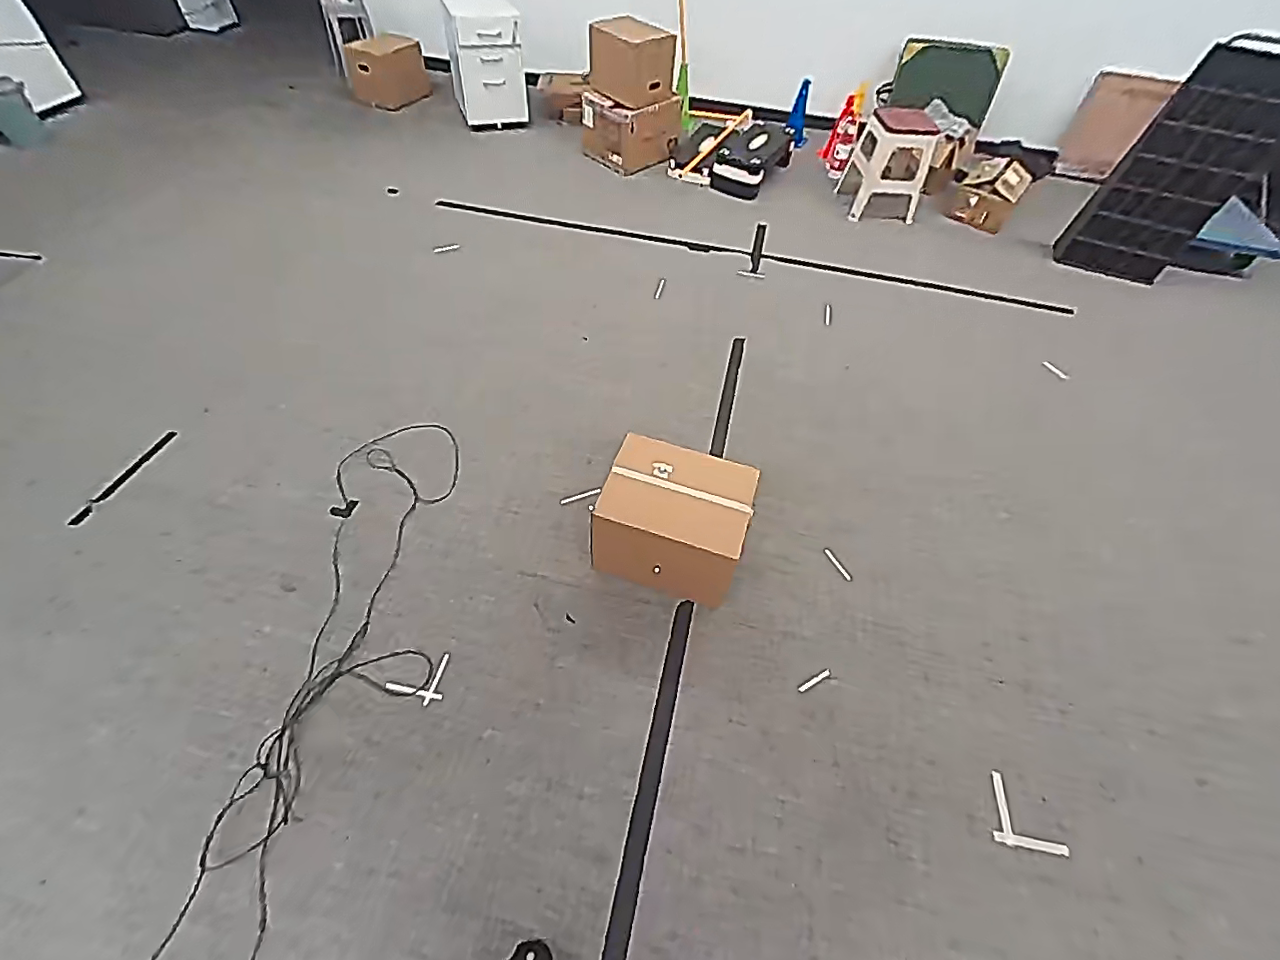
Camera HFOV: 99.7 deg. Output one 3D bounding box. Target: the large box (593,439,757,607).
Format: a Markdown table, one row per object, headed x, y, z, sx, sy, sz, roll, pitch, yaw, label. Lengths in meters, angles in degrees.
| x | y | z | sx | sy | sz | roll | pitch | yaw | label |
| --- | --- | --- | --- | --- | --- | --- | --- | --- | --- |
| 0.100 | 0.132 | 1.615 | 0.408 | 0.320 | 0.320 | 17 | 53 | 9 | large box |
